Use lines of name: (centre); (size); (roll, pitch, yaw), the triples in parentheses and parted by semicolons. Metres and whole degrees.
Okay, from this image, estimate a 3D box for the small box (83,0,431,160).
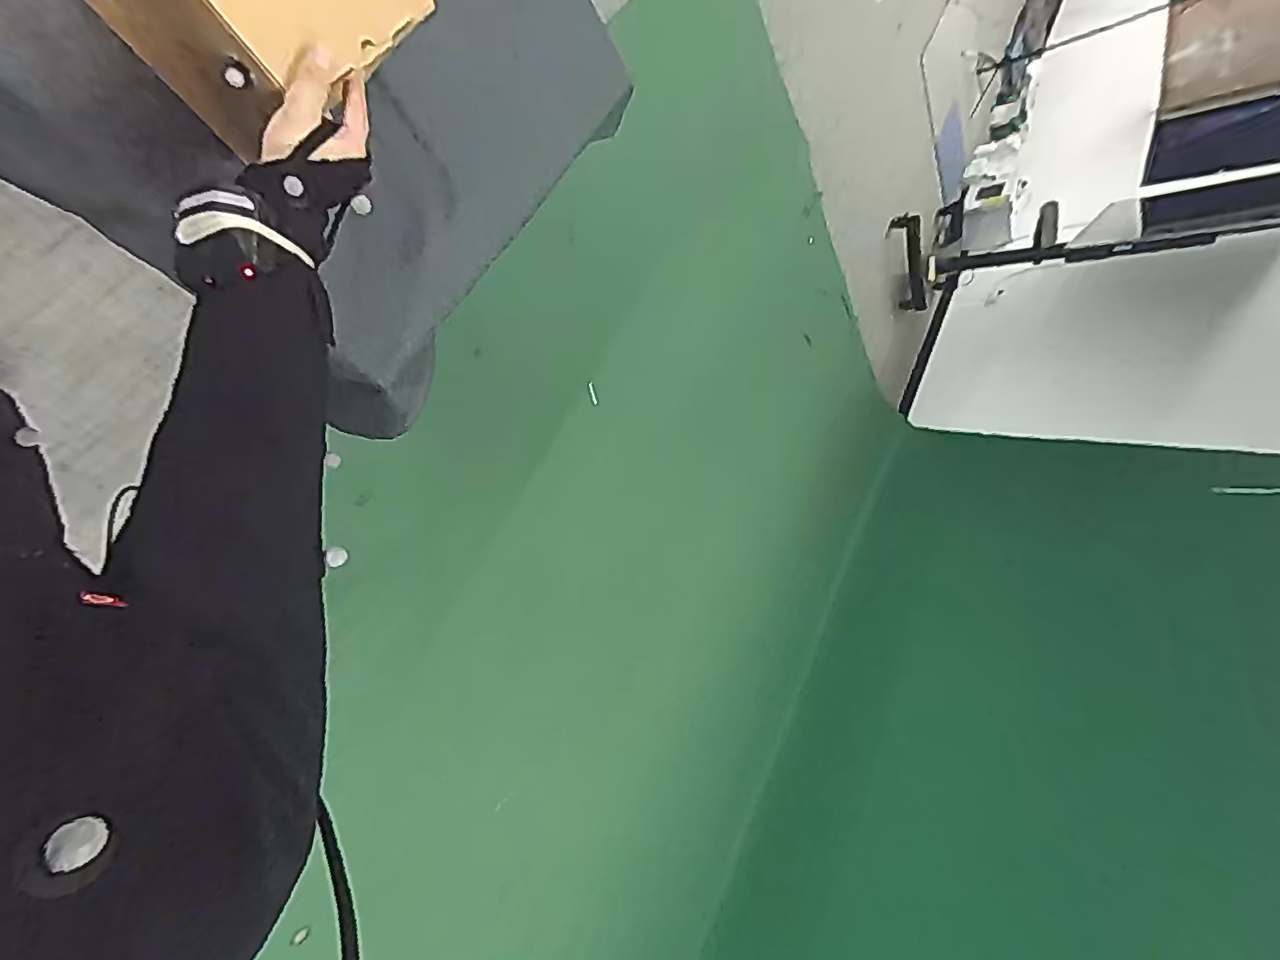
small box: (-0.317, -0.400, 0.432); (0.179, 0.176, 0.168); (51, 61, -41)
